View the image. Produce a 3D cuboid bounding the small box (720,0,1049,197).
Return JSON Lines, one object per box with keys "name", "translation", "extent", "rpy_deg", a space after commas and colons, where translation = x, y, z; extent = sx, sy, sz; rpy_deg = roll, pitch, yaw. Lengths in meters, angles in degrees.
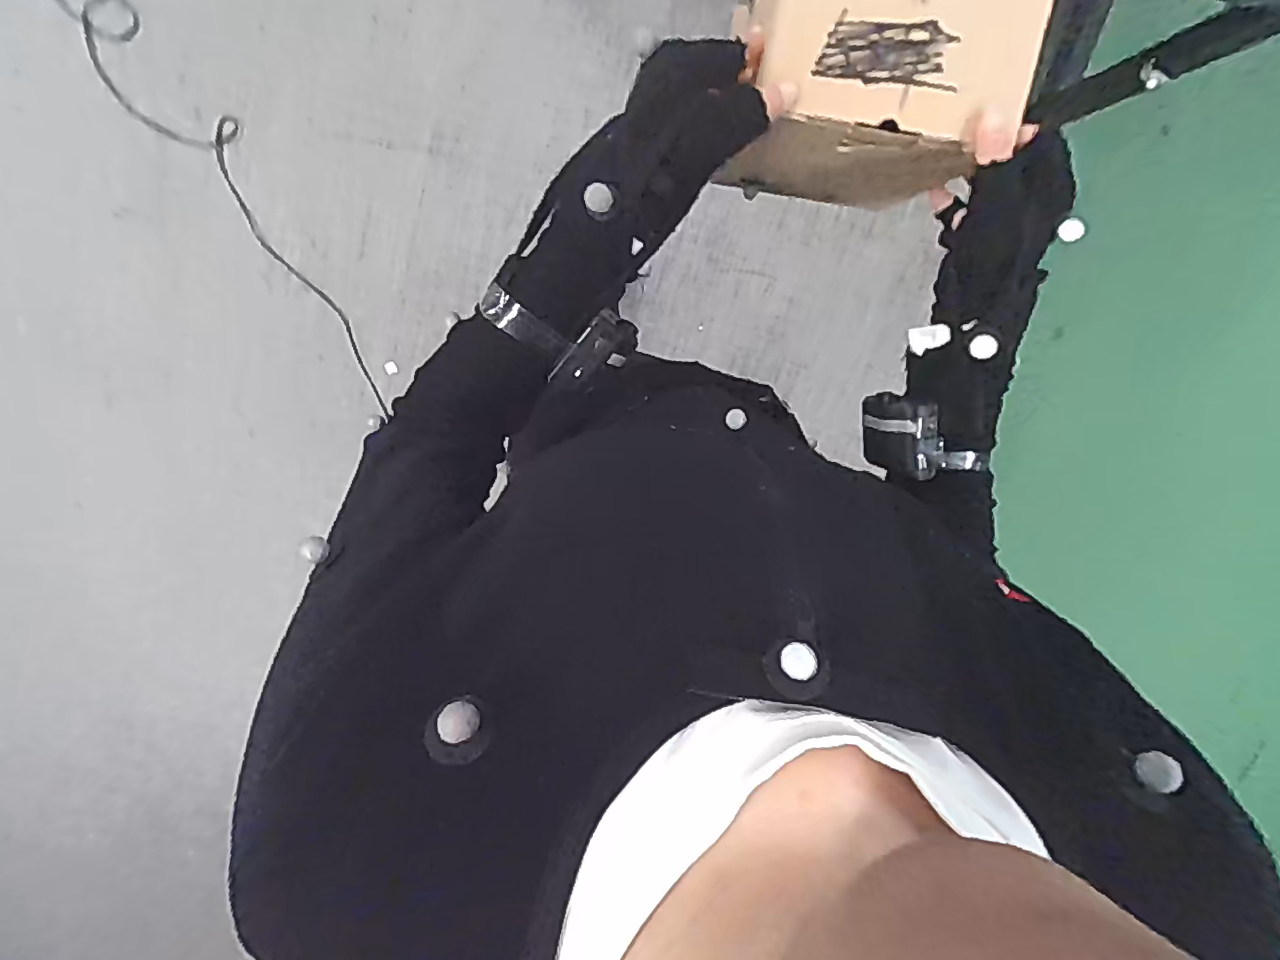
{"name": "small box", "translation": [0.162, -0.328, 0.394], "extent": [0.168, 0.176, 0.179], "rpy_deg": [7, 103, -6]}
